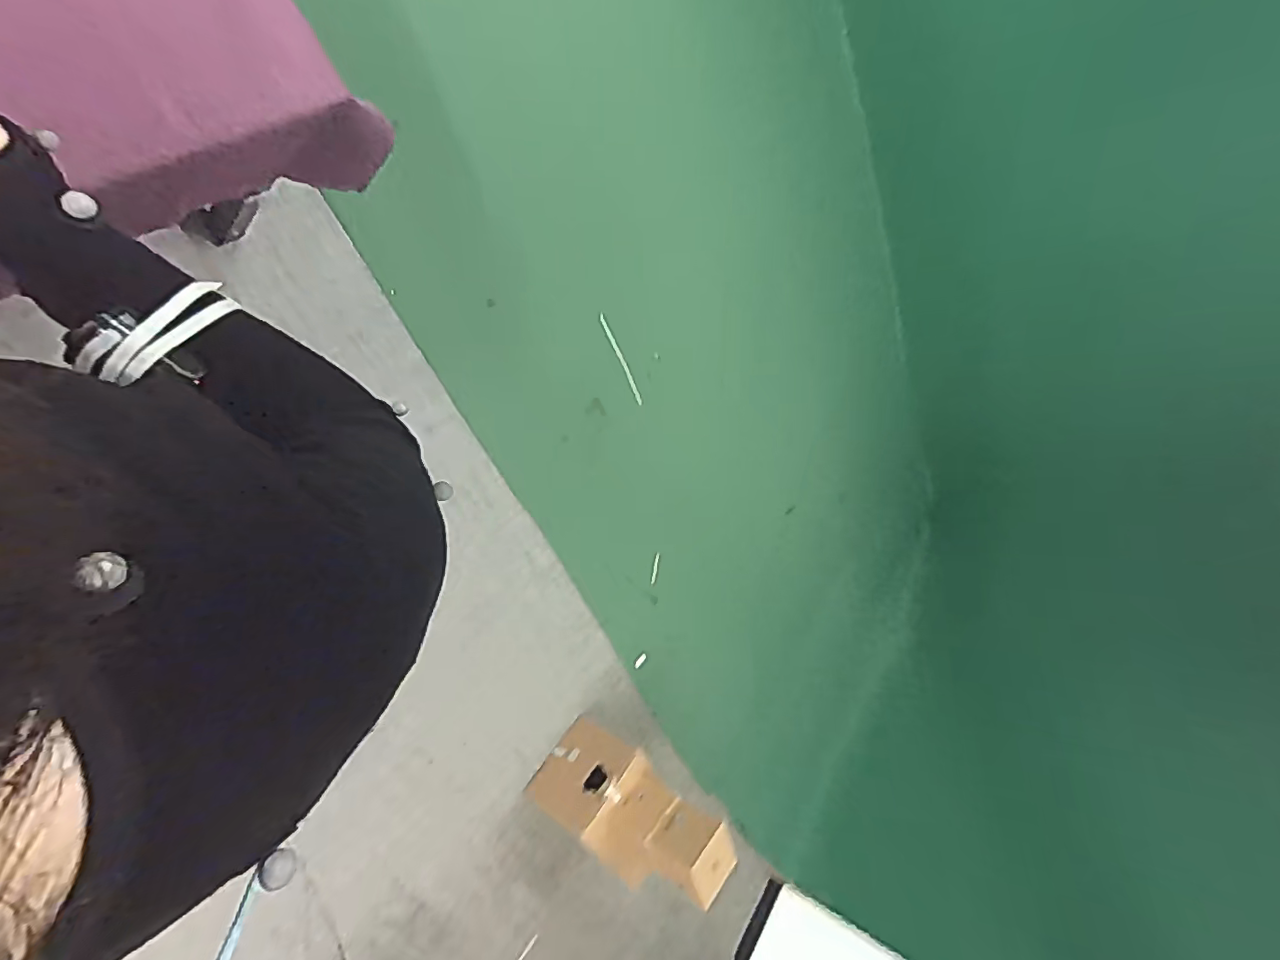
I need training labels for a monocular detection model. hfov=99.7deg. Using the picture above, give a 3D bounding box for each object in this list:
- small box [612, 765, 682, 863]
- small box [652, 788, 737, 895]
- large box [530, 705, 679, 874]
[{"bbox_3d":[0.040,1.057,1.728,0.168,0.176,0.179,-36,117,-37],"label":"small box"},{"bbox_3d":[0.161,1.071,1.619,0.168,0.176,0.179,-33,114,-39],"label":"small box"},{"bbox_3d":[-0.112,1.085,1.923,0.320,0.320,0.408,-47,125,-31],"label":"large box"}]
